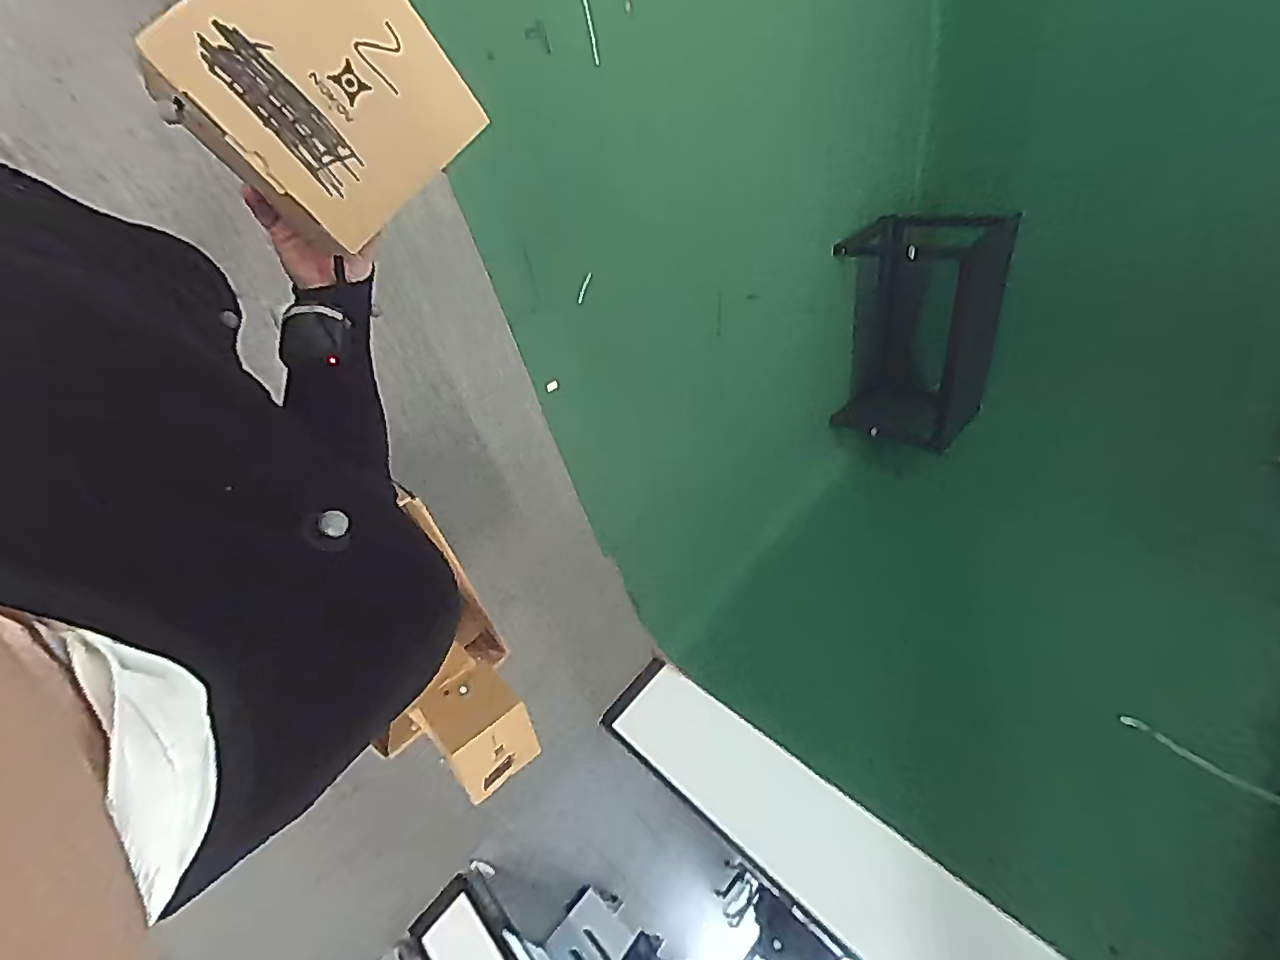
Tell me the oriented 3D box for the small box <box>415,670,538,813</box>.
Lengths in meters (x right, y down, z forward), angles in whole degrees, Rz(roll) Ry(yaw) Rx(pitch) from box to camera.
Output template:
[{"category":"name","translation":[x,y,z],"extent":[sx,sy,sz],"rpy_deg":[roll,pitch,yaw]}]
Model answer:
[{"category":"small box","translation":[-0.345,0.543,1.145],"extent":[0.168,0.176,0.179],"rpy_deg":[-31,126,-34]}]

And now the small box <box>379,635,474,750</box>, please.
[{"category":"small box","translation":[-0.463,0.494,1.249],"extent":[0.168,0.176,0.179],"rpy_deg":[-39,131,-27]}]
